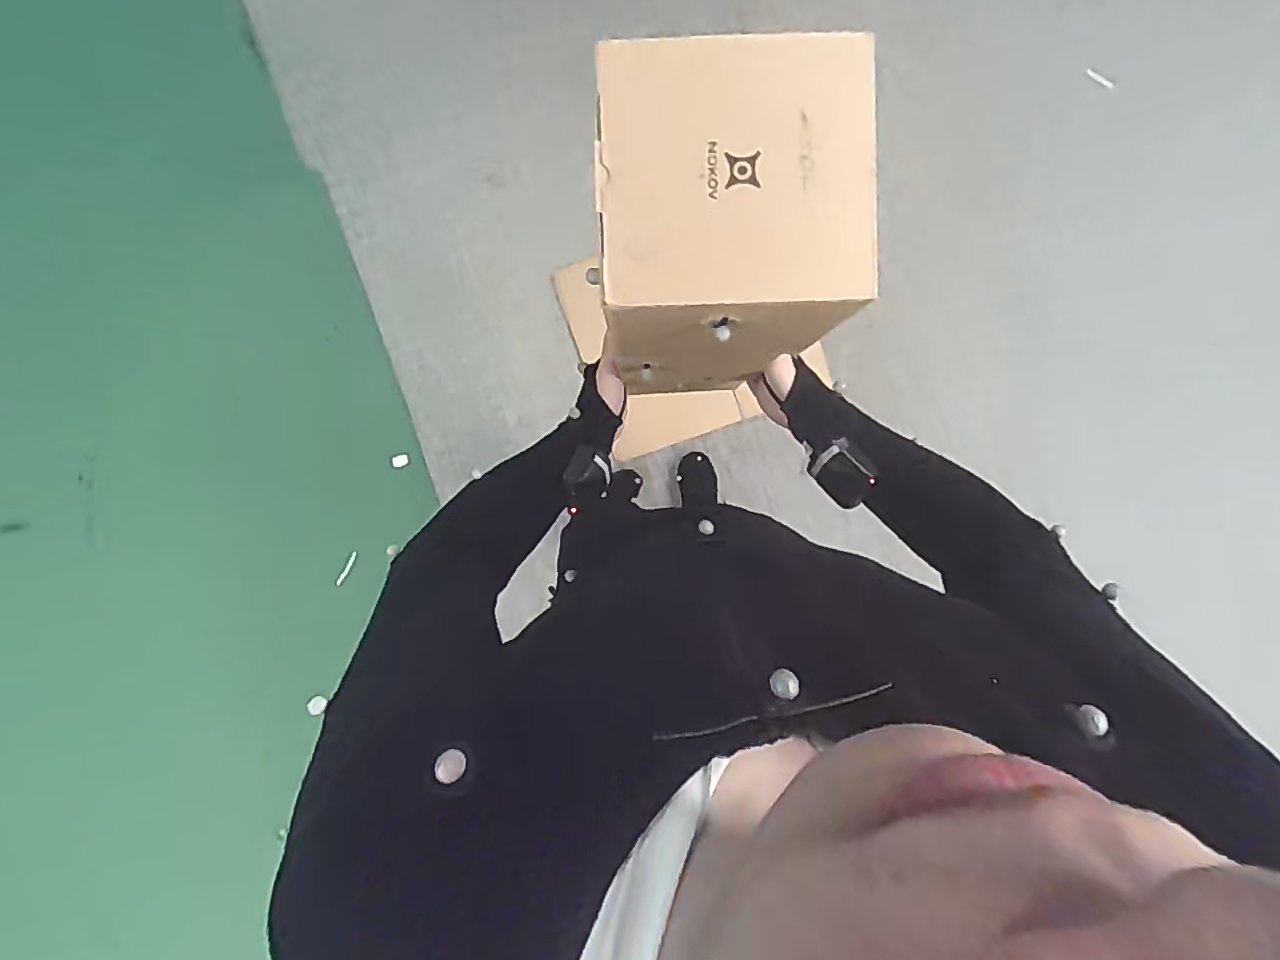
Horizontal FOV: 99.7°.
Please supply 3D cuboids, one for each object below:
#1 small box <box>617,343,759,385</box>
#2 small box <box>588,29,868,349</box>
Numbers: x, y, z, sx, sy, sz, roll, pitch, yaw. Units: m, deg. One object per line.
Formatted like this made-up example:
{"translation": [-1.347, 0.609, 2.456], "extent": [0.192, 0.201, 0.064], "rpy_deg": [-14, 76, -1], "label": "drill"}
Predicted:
{"translation": [0.059, -0.226, 0.746], "extent": [0.179, 0.176, 0.168], "rpy_deg": [-2, 92, 0], "label": "small box"}
{"translation": [0.057, -0.200, 0.419], "extent": [0.179, 0.176, 0.168], "rpy_deg": [0, 92, 1], "label": "small box"}
